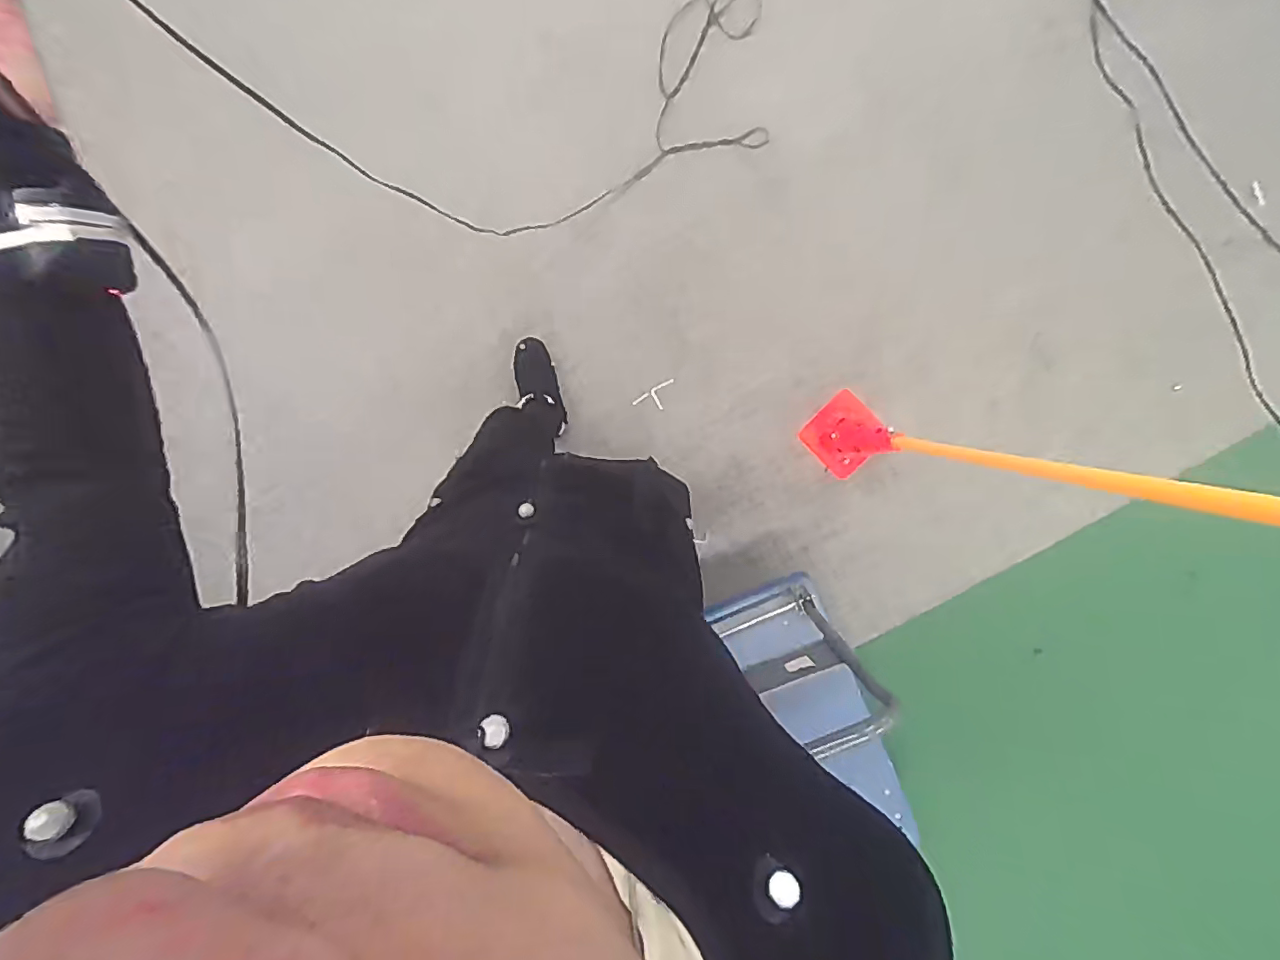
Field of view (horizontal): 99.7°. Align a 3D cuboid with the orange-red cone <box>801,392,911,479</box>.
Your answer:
[{"bbox_3d":[0.594,-0.106,1.396,0.198,0.360,0.199,45,95,-6],"label":"orange-red cone"}]
